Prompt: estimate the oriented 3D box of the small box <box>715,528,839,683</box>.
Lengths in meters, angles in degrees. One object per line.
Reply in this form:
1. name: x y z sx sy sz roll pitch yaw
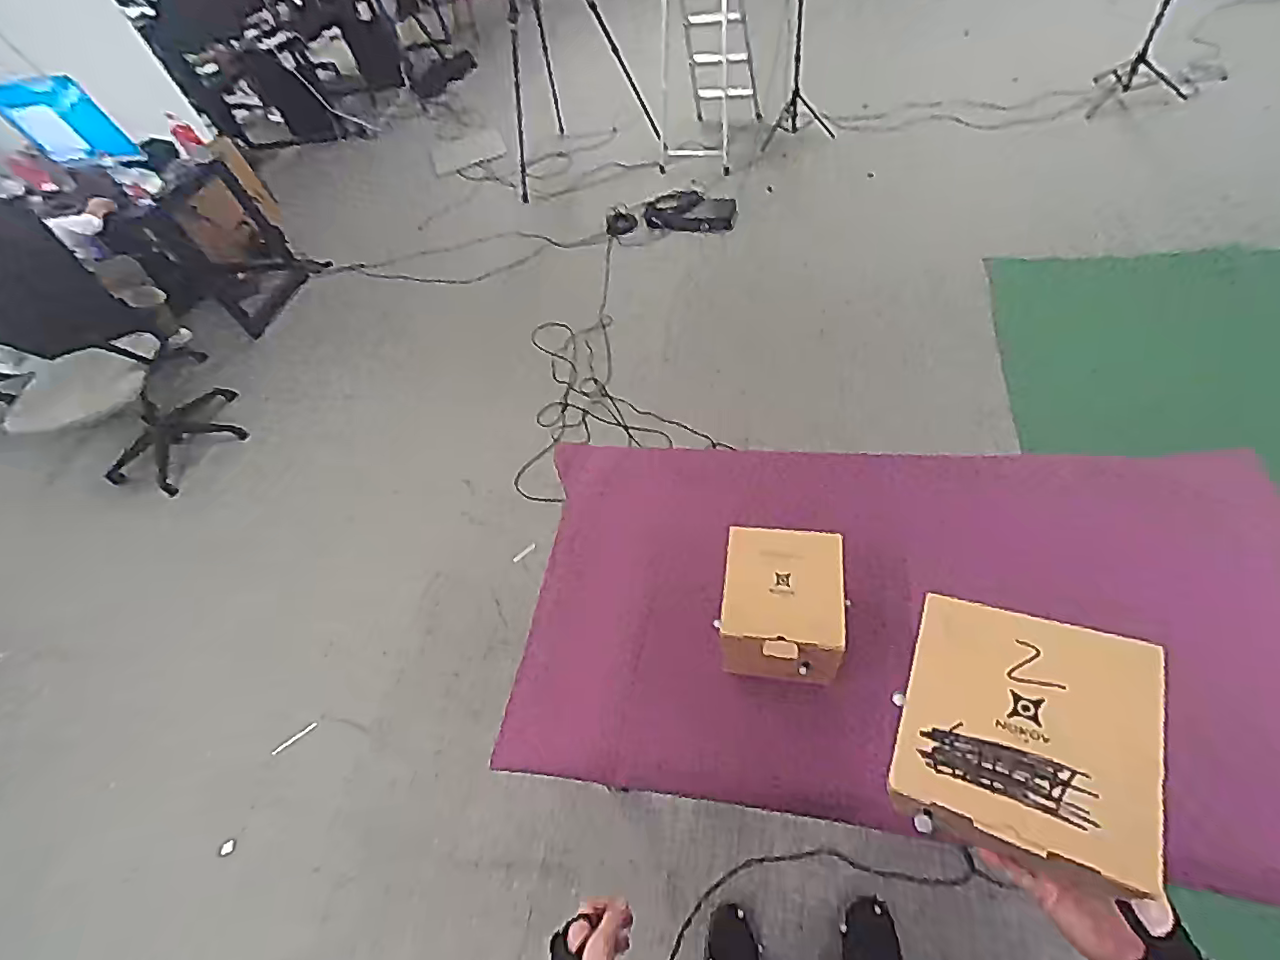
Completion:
1. small box: 0.211 0.195 0.831 0.168 0.176 0.179 4 54 14
